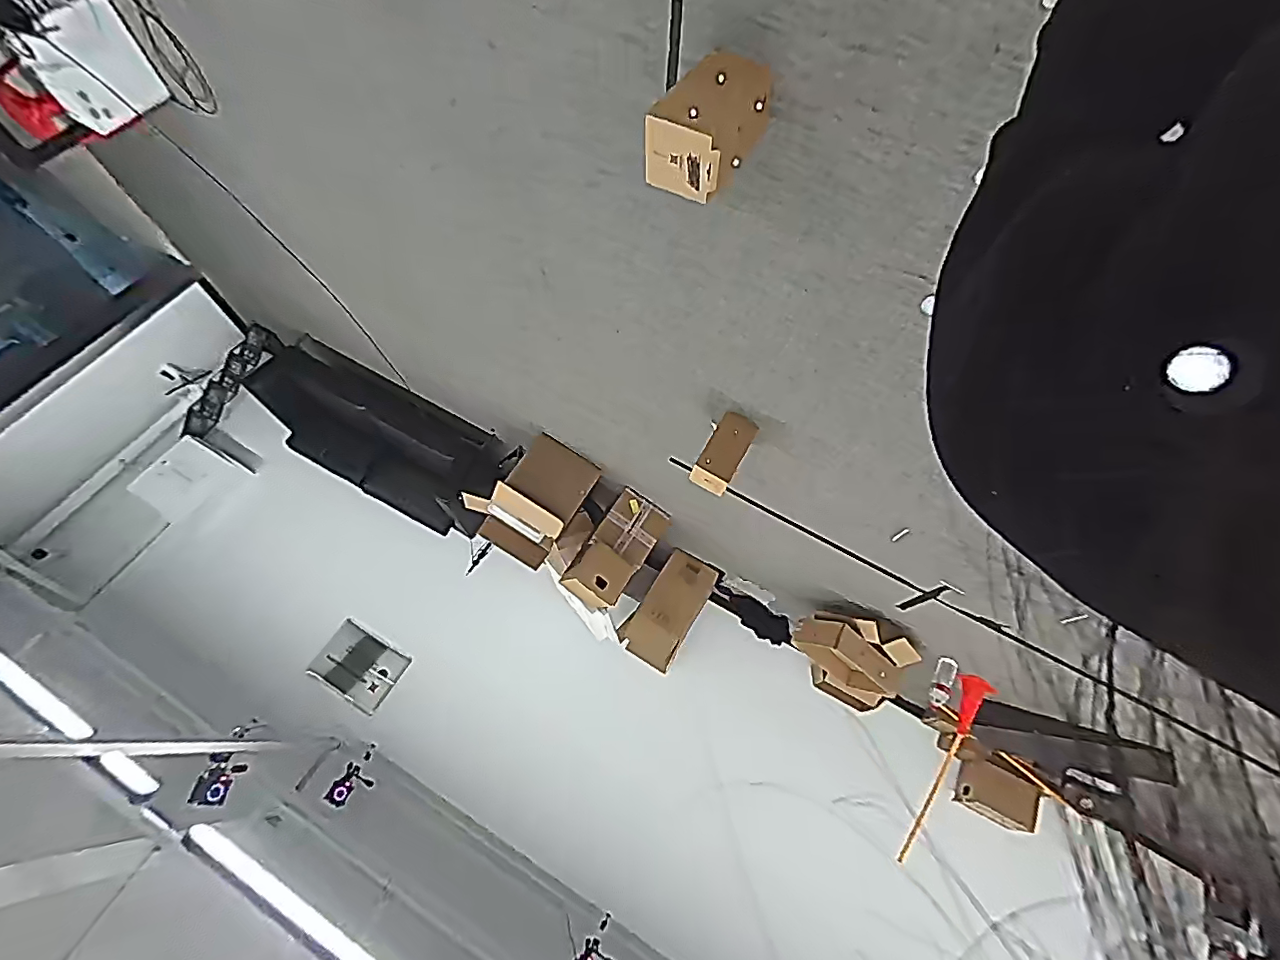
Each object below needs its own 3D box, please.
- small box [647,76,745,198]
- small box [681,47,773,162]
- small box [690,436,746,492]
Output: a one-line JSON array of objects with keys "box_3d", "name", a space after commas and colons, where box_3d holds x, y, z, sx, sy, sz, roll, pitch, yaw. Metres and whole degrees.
[{"box_3d": [0.131, -0.819, 1.288, 0.179, 0.176, 0.168, 27, 156, 14], "name": "small box"}, {"box_3d": [0.213, -0.945, 1.356, 0.179, 0.176, 0.168, 28, 156, 15], "name": "small box"}, {"box_3d": [0.357, -0.081, 2.481, 0.179, 0.176, 0.168, 29, 158, 7], "name": "small box"}]
